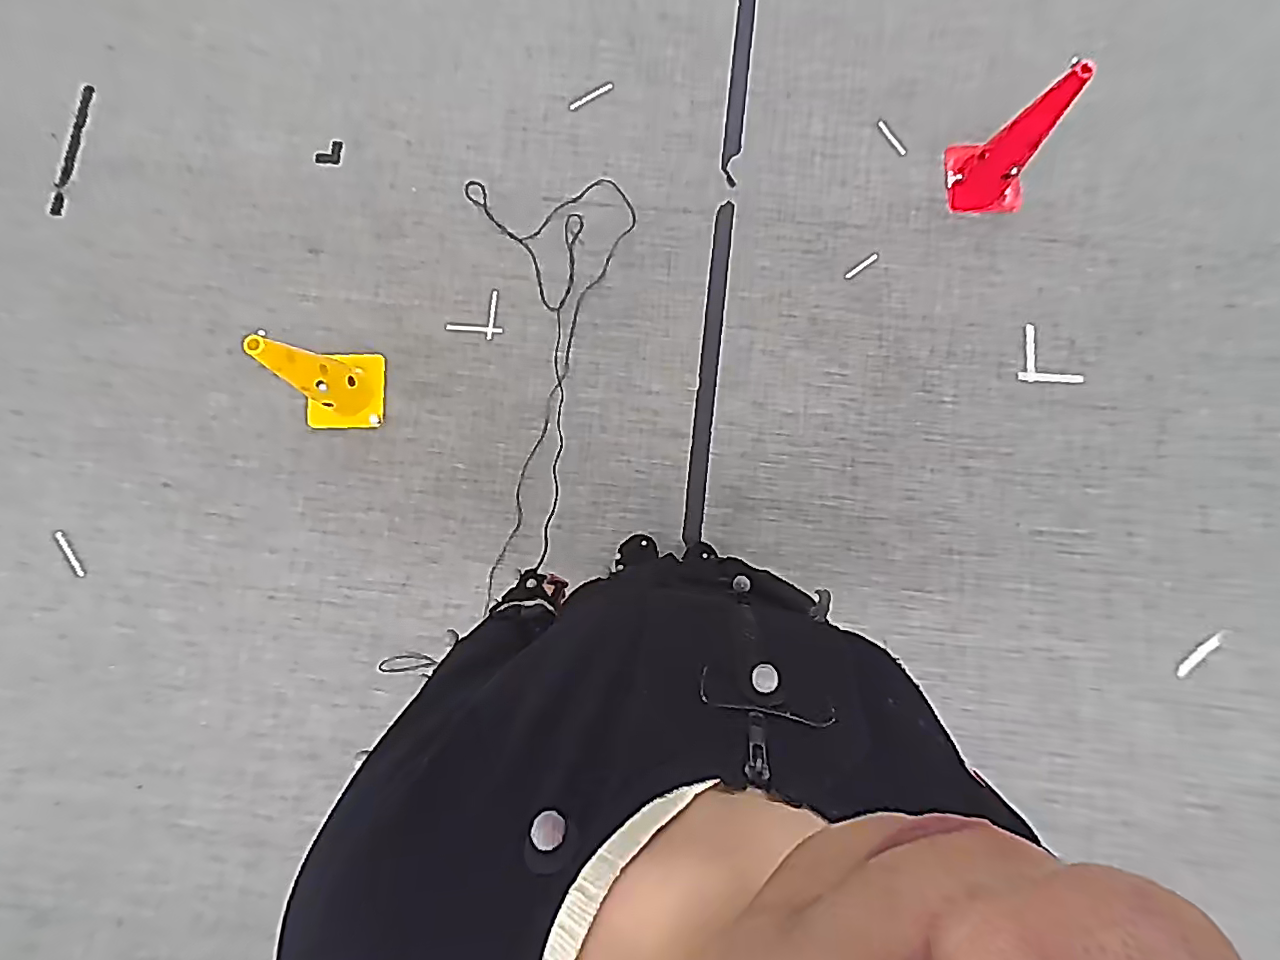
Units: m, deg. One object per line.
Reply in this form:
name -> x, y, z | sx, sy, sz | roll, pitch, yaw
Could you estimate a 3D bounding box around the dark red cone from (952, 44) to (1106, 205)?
dark red cone -> 0.946, -0.862, 1.302 | 0.201, 0.394, 0.202 | -2, 83, 1
